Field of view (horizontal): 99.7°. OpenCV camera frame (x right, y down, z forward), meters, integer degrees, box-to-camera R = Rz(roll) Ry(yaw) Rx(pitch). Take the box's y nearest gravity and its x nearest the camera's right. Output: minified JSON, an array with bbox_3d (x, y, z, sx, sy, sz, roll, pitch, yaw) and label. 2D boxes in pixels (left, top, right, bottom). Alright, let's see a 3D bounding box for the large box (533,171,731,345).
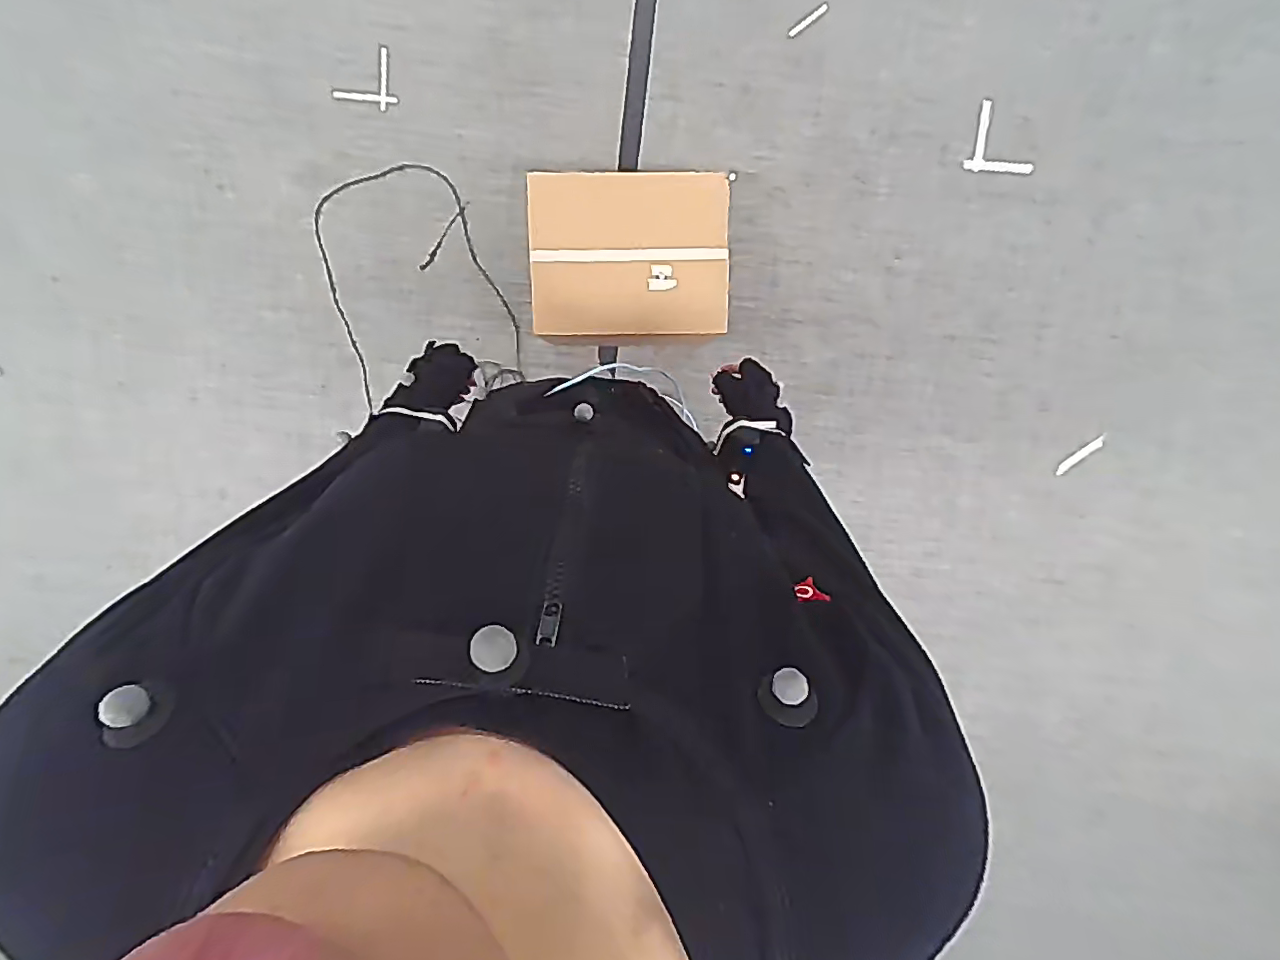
[{"bbox_3d":[-0.019,-0.487,1.249,0.408,0.320,0.320,-1,100,-1],"label":"large box"}]
